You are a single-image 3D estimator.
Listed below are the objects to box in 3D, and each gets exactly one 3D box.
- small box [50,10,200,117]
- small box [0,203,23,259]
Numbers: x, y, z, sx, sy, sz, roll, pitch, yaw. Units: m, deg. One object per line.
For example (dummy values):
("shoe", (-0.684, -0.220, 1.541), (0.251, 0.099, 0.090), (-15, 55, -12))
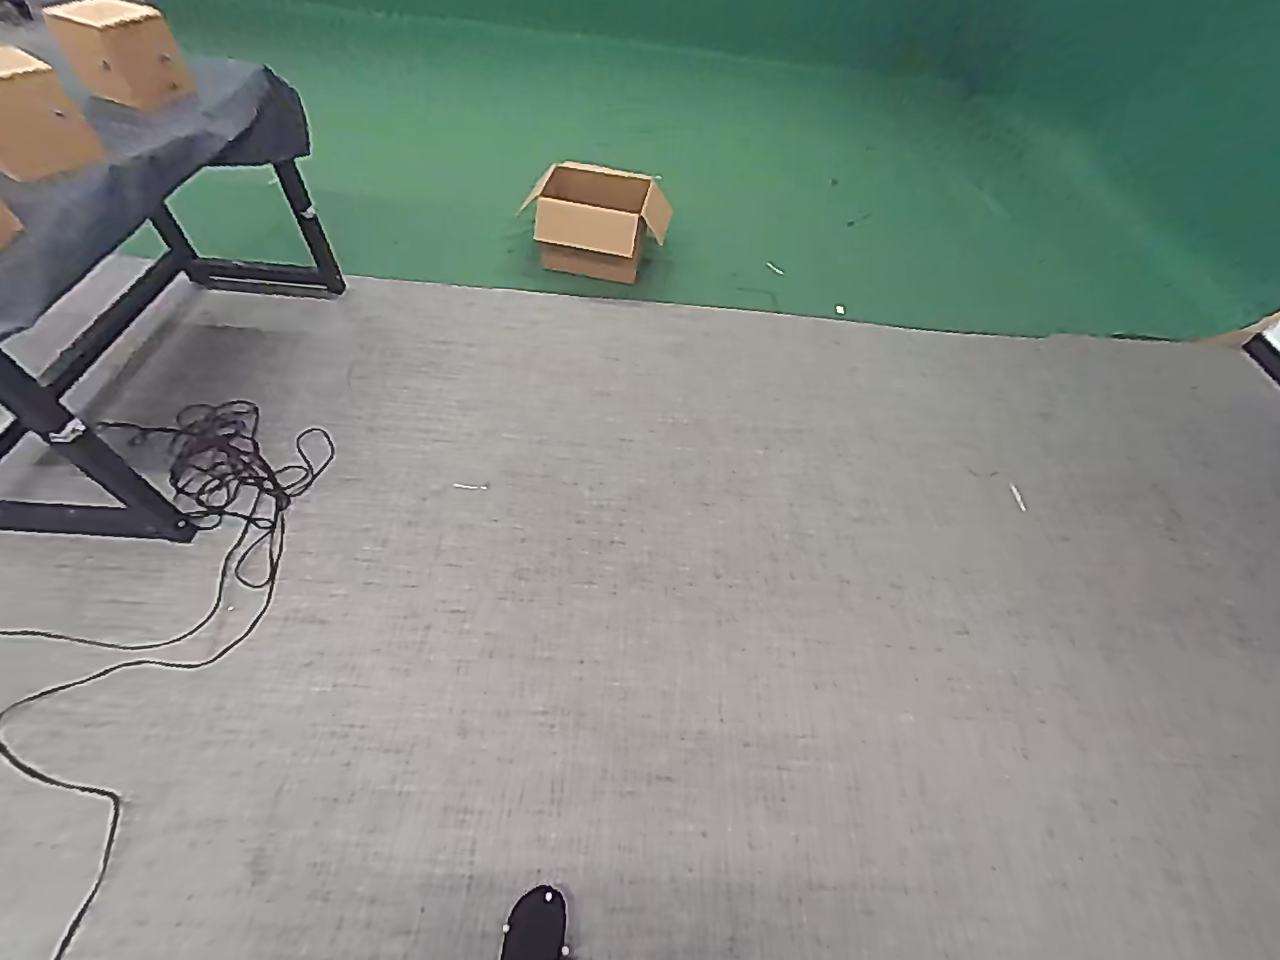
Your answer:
("small box", (-1.268, -1.035, 1.349), (0.179, 0.176, 0.168), (18, 52, 10))
("small box", (-1.215, -0.442, 0.896), (0.168, 0.176, 0.179), (0, 53, -3))
